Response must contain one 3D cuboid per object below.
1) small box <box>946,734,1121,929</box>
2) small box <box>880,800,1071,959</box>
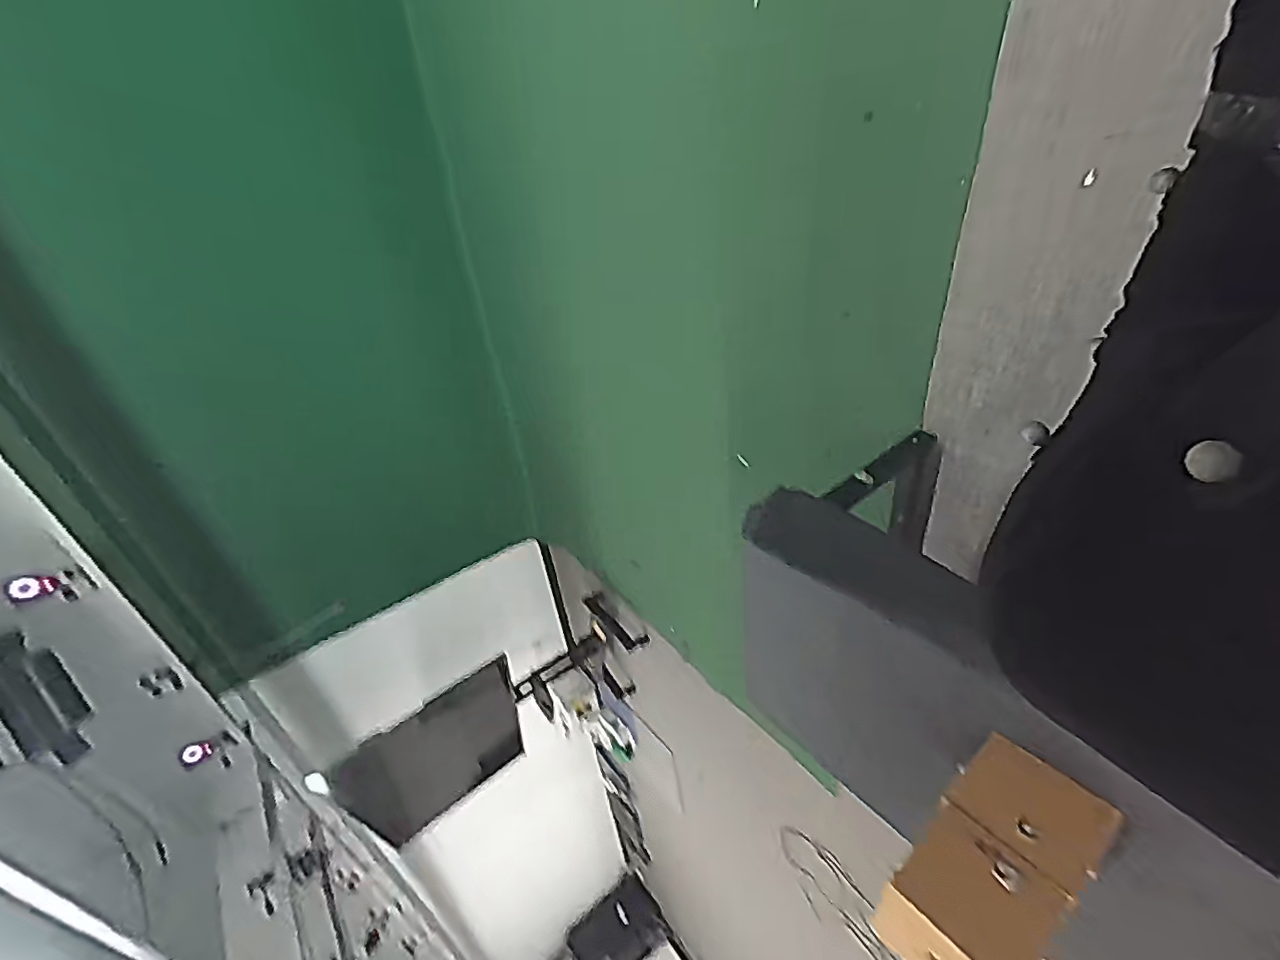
[{"bbox_3d":[0.601,0.544,0.846,0.179,0.176,0.168,31,139,46],"label":"small box"},{"bbox_3d":[0.474,0.613,0.774,0.168,0.176,0.179,29,137,44],"label":"small box"}]
